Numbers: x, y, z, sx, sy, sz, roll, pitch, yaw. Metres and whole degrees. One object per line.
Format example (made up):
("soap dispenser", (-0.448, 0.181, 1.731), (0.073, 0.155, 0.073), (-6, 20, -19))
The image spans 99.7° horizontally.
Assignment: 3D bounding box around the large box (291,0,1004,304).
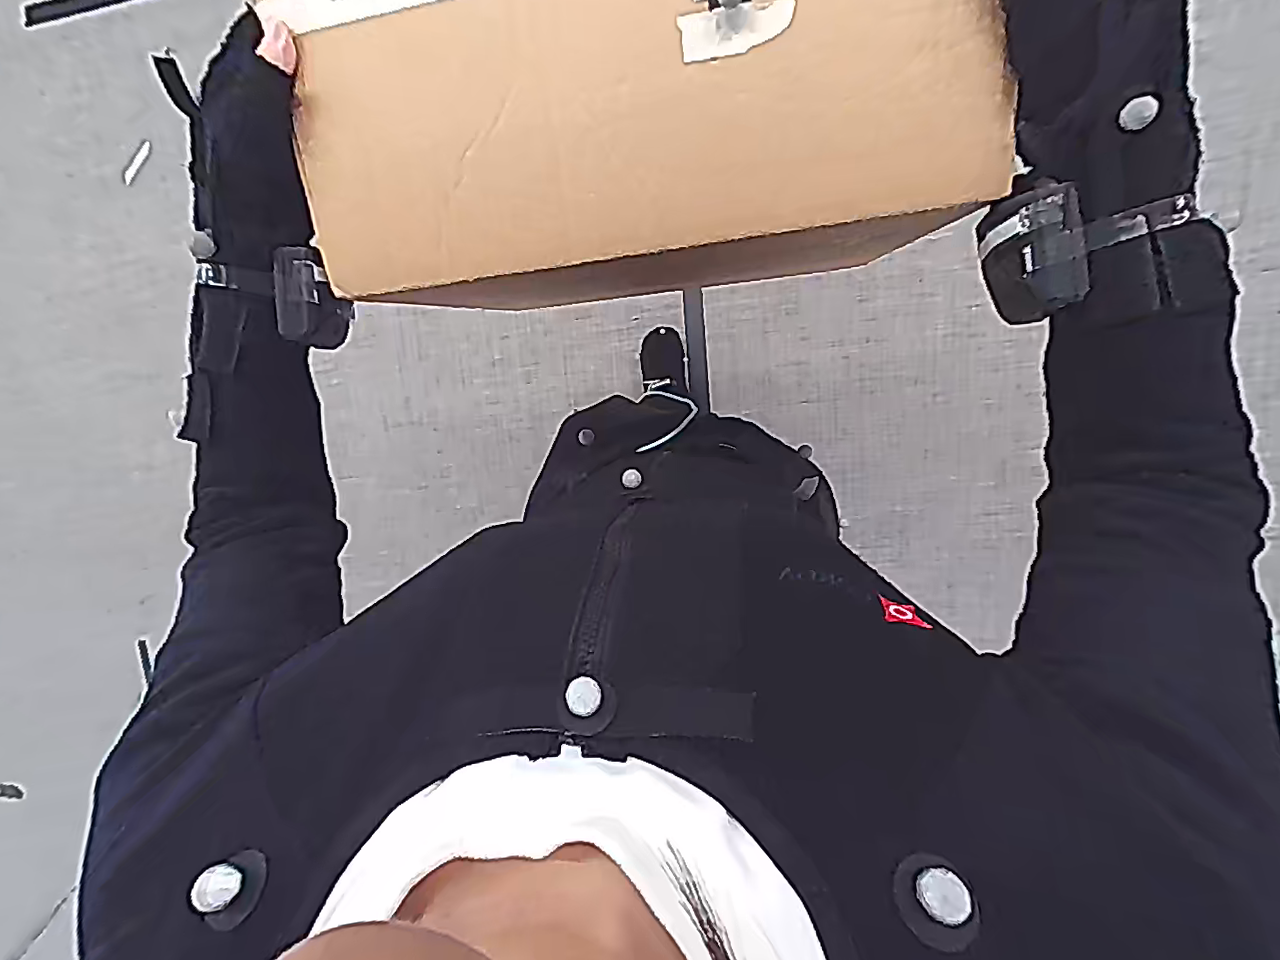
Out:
("large box", (0.004, -0.336, 0.436), (0.408, 0.320, 0.320), (-5, 106, 10))
